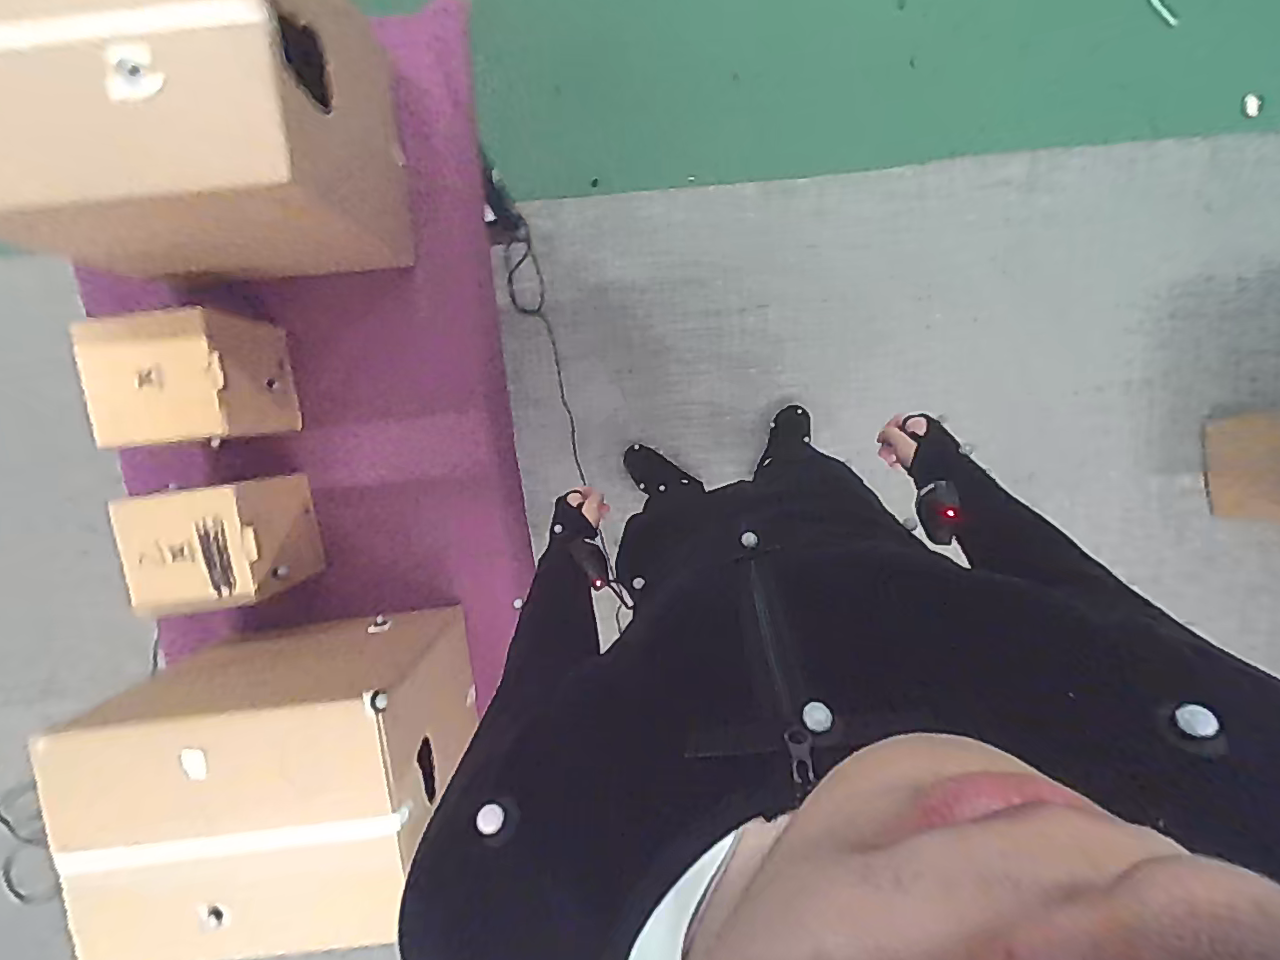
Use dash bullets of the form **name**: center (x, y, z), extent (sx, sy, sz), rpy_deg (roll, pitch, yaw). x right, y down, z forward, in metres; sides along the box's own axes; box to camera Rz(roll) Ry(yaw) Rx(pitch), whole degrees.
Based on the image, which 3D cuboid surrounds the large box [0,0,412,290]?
- **large box**: center (-0.561, -0.448, 0.675), extent (0.408, 0.320, 0.320), rpy_deg (-6, 98, 0)
